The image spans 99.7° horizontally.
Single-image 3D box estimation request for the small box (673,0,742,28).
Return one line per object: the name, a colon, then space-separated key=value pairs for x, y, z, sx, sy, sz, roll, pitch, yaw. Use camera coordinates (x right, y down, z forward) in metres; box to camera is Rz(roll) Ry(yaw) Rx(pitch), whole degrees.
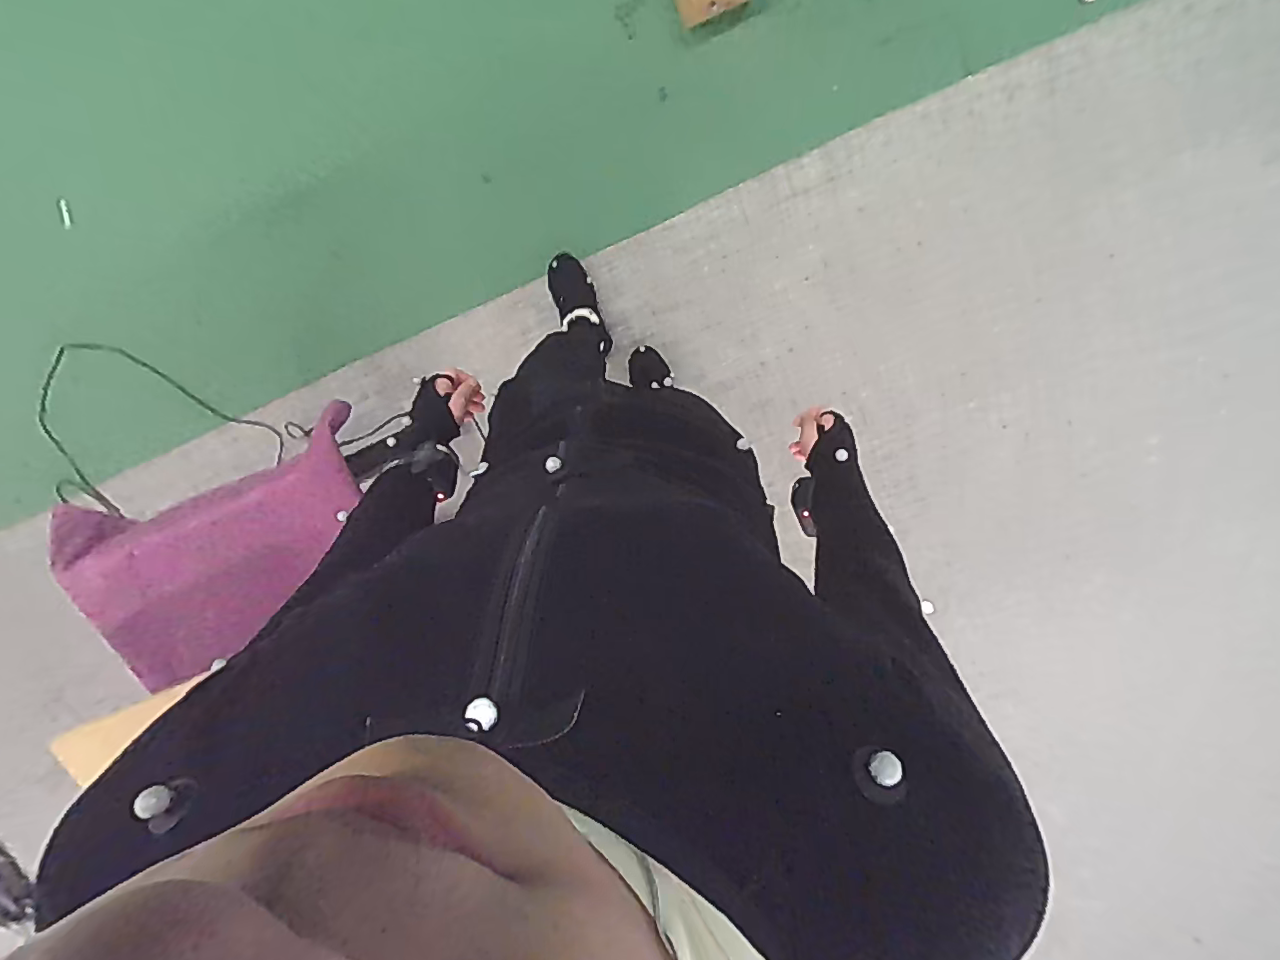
small box: x=0.139 y=-1.154 z=1.180 sx=0.168 sy=0.176 sz=0.179 roll=-19 pitch=106 yaw=10
